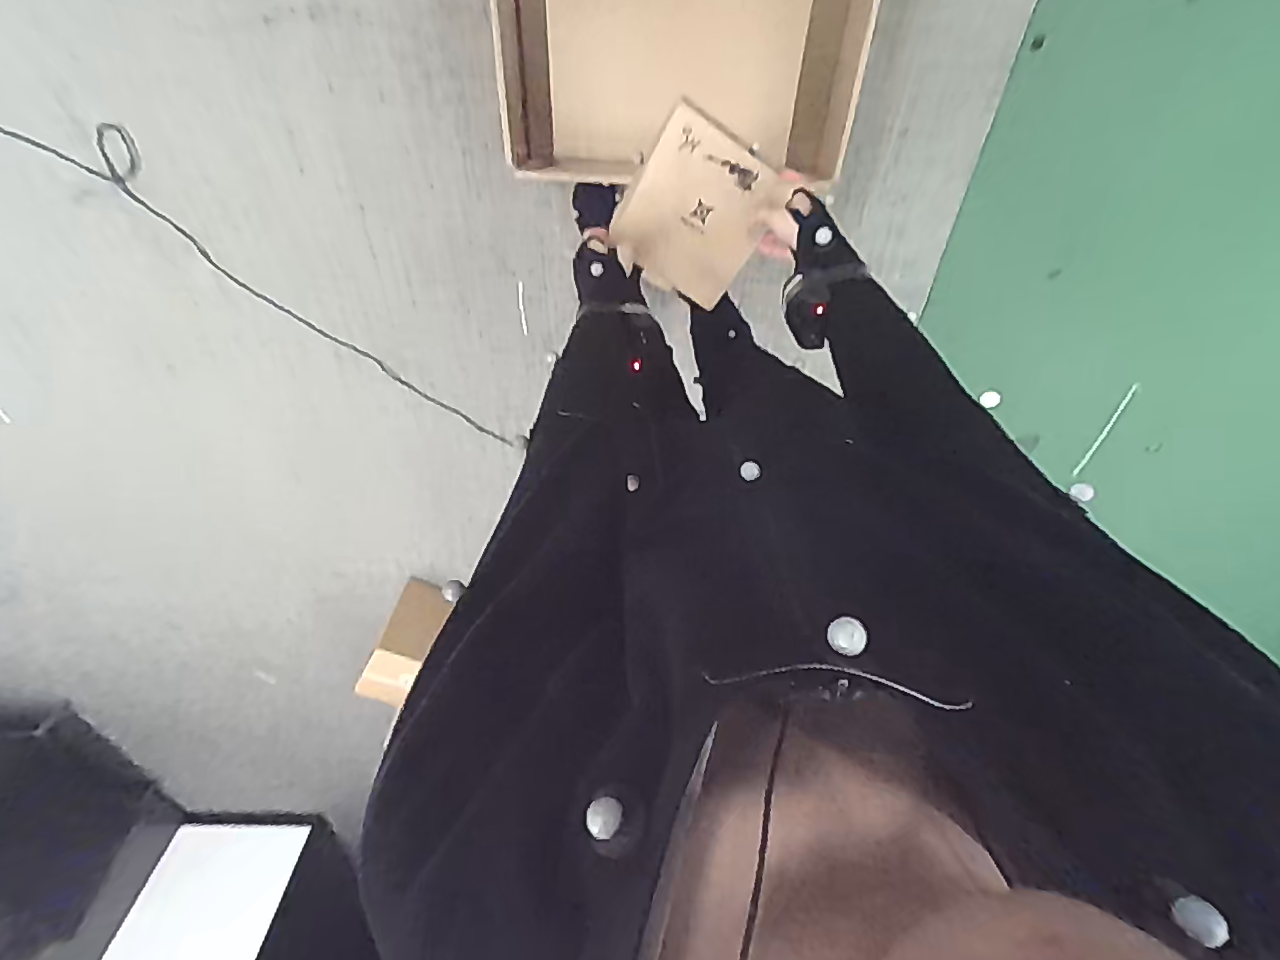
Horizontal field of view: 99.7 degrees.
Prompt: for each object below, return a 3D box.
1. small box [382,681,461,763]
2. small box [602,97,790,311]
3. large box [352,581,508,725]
[{"bbox_3d":[-0.722,0.806,1.802,0.168,0.176,0.179,31,123,-21],"label":"small box"},{"bbox_3d":[0.069,-0.364,0.712,0.168,0.176,0.179,27,126,-16],"label":"small box"},{"bbox_3d":[-0.751,0.633,1.977,0.408,0.320,0.320,28,123,-17],"label":"large box"}]
